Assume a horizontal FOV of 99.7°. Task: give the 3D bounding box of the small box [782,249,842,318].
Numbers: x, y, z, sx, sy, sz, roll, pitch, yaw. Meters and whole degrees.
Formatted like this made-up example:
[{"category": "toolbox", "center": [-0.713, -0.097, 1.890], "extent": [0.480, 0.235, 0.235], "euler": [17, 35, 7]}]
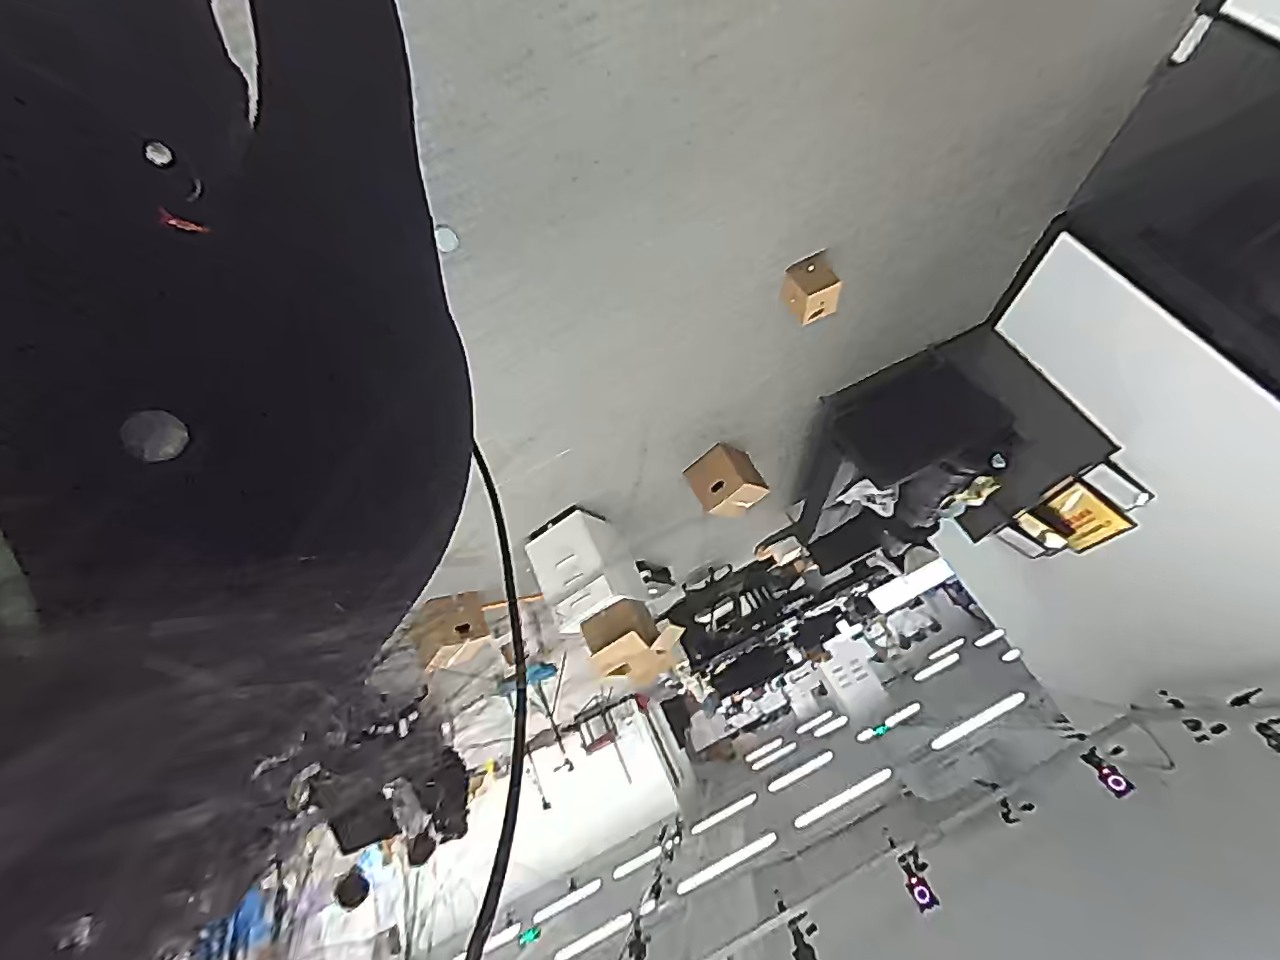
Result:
[{"category": "small box", "center": [0.712, -0.824, 2.261], "extent": [0.168, 0.176, 0.179], "euler": [-26, 156, -5]}]
